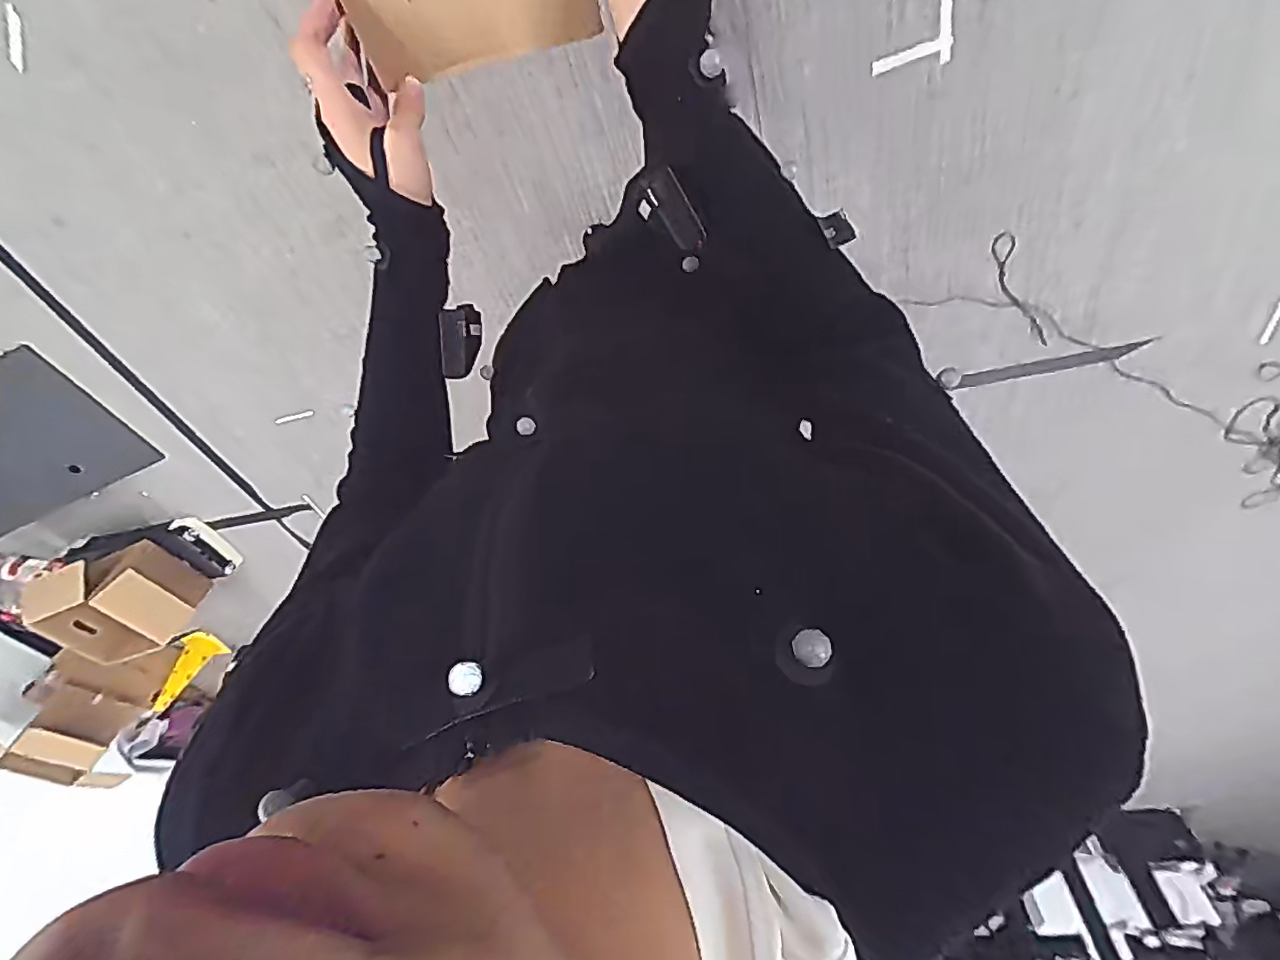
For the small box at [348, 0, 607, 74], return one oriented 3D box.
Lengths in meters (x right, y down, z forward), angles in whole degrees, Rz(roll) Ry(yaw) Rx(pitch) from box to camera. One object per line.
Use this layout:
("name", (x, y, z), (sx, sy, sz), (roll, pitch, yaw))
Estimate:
("small box", (-0.135, -0.430, 0.382), (0.179, 0.176, 0.168), (-14, 142, 2))
